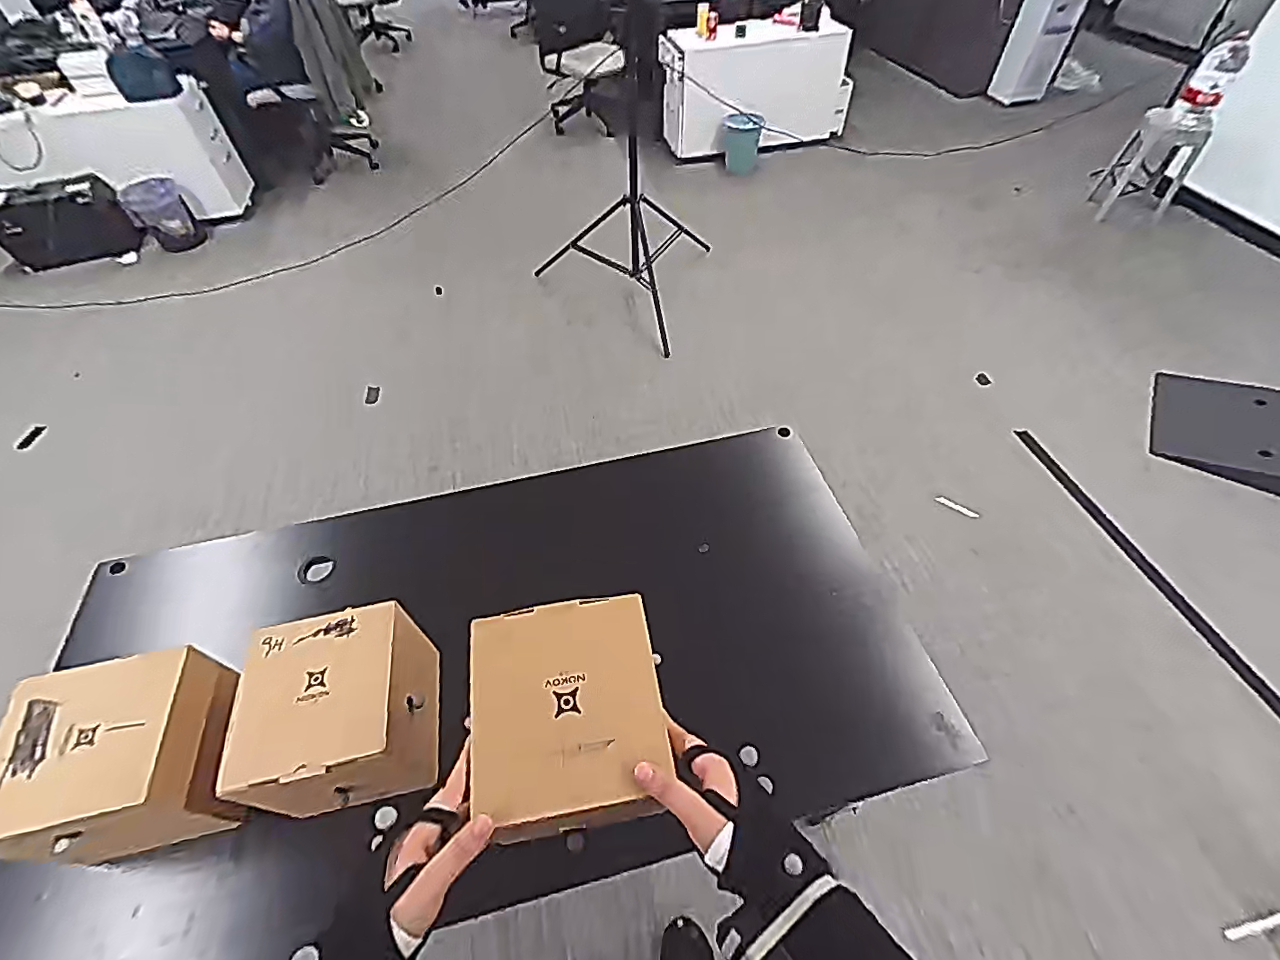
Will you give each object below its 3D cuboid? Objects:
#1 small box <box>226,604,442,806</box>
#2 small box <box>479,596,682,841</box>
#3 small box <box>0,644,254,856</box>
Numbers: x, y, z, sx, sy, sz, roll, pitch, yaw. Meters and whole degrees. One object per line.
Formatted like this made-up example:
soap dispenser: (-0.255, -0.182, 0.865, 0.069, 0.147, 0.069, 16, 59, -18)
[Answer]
small box: (-0.348, 0.279, 0.657, 0.168, 0.176, 0.179, -11, 53, -7)
small box: (-0.062, 0.241, 0.542, 0.168, 0.176, 0.179, -8, 55, -7)
small box: (-0.576, 0.318, 0.631, 0.179, 0.176, 0.168, -11, 52, -8)
